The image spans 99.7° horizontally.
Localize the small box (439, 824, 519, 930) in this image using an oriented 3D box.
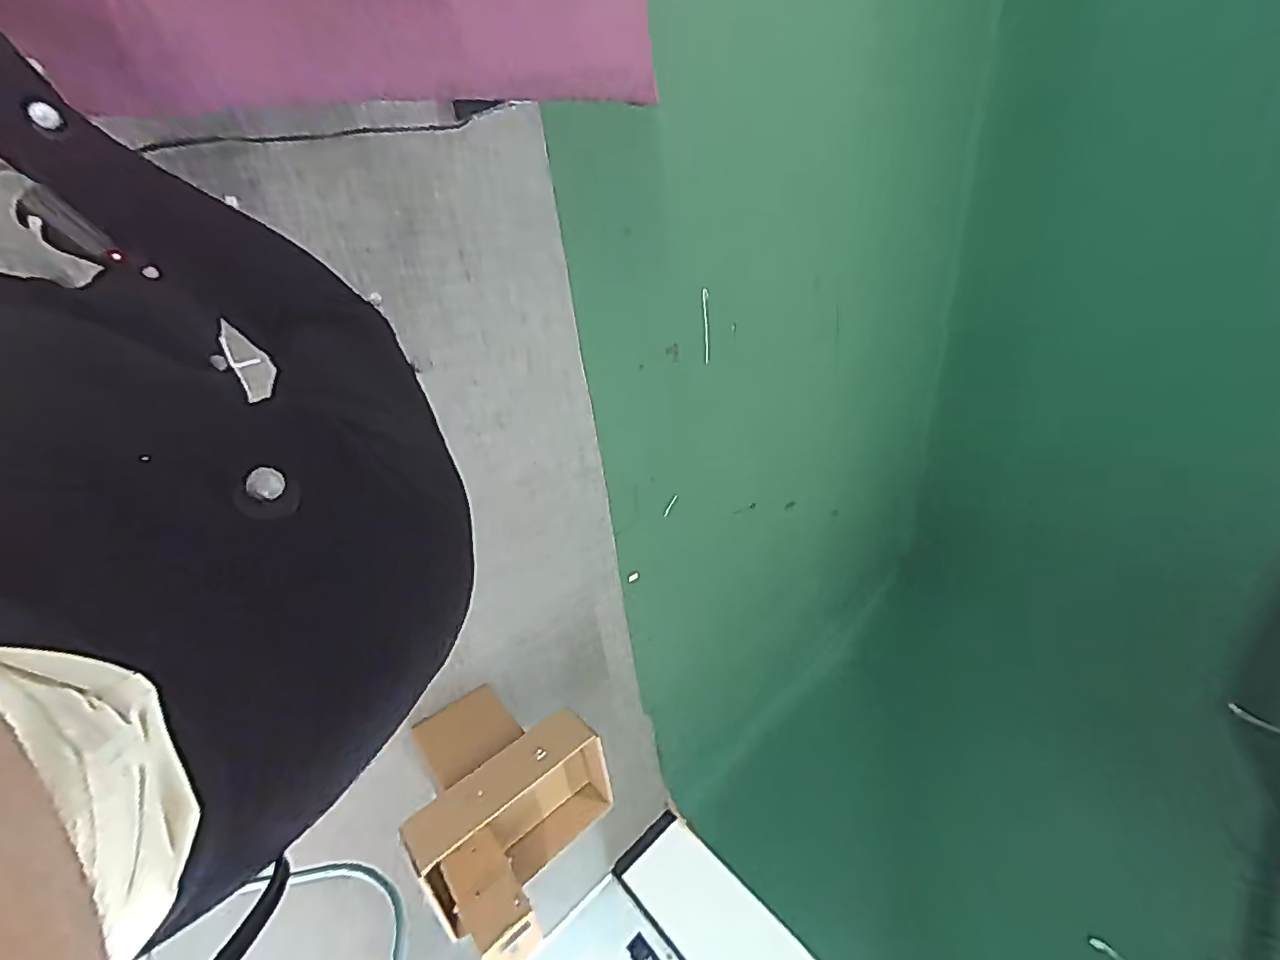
[{"bbox_3d":[-0.503,1.228,1.685,0.168,0.176,0.179,-25,122,-32],"label":"small box"}]
